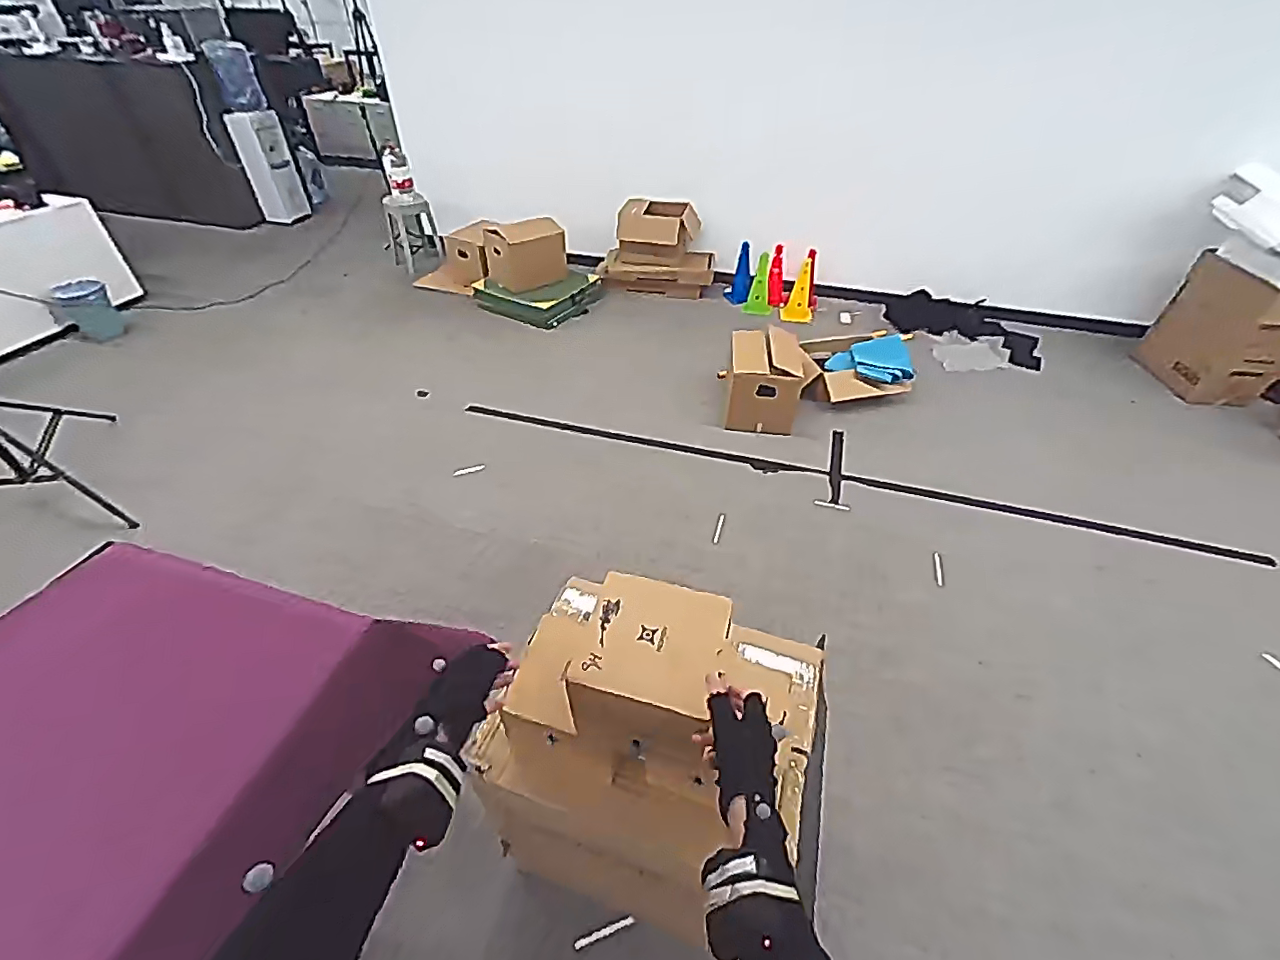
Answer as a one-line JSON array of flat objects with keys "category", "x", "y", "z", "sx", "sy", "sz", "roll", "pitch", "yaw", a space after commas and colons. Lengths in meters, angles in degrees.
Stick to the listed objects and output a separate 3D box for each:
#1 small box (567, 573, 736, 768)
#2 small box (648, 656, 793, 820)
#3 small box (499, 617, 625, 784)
[{"category": "small box", "x": 0.019, "y": 0.256, "z": 0.720, "sx": 0.179, "sy": 0.176, "sz": 0.168, "roll": 11, "pitch": 44, "yaw": 12}, {"category": "small box", "x": 0.119, "y": 0.384, "z": 0.822, "sx": 0.179, "sy": 0.176, "sz": 0.168, "roll": 13, "pitch": 44, "yaw": 16}, {"category": "small box", "x": -0.098, "y": 0.350, "z": 0.857, "sx": 0.179, "sy": 0.176, "sz": 0.168, "roll": 13, "pitch": 44, "yaw": 11}]
